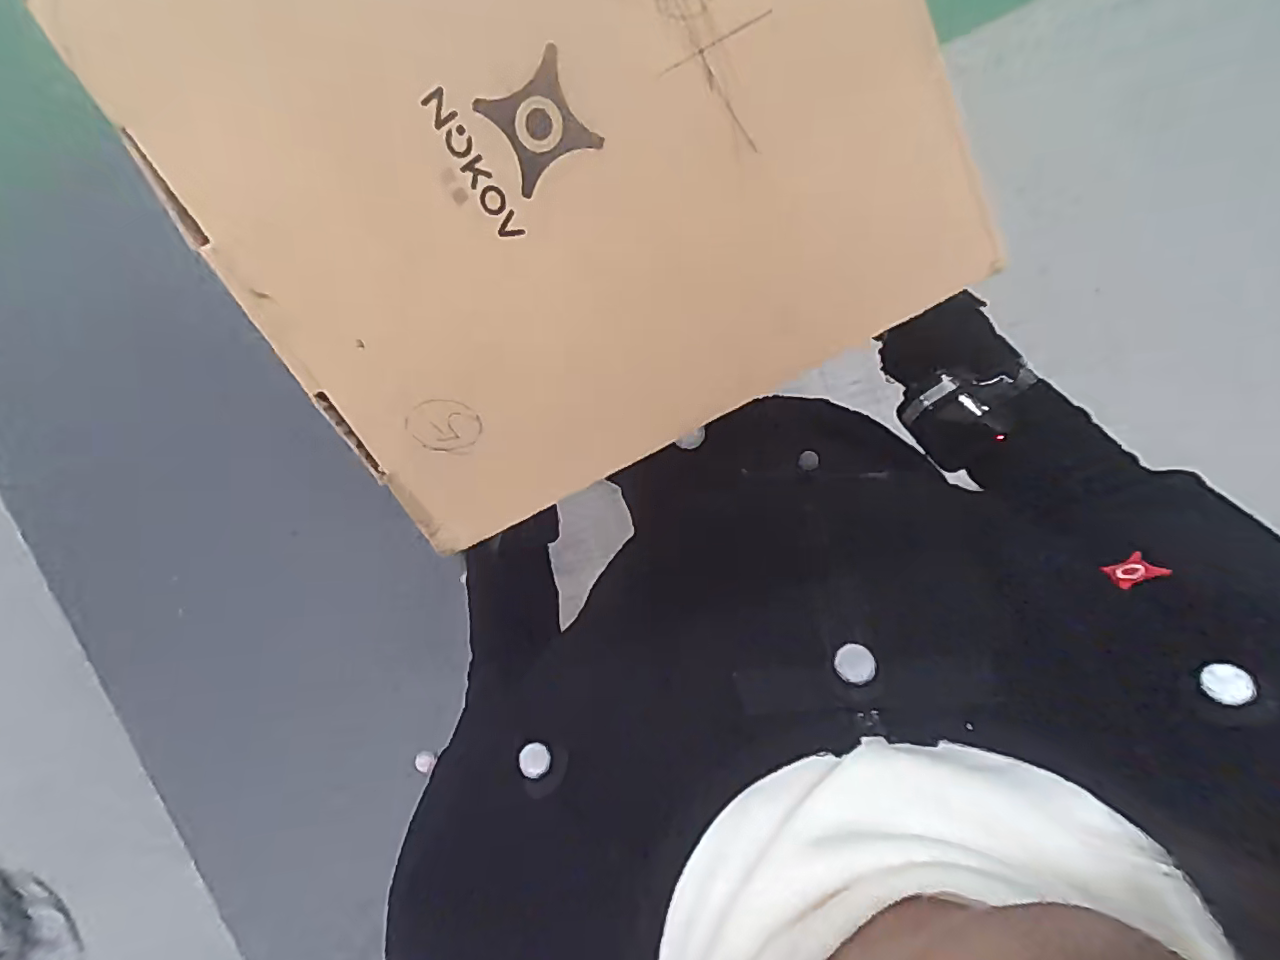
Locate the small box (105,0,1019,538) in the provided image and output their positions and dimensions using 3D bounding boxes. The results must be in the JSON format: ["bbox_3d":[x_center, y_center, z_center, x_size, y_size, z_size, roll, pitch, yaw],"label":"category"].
[{"bbox_3d":[-0.012,-0.111,0.208,0.179,0.176,0.168,-27,108,12],"label":"small box"}]
